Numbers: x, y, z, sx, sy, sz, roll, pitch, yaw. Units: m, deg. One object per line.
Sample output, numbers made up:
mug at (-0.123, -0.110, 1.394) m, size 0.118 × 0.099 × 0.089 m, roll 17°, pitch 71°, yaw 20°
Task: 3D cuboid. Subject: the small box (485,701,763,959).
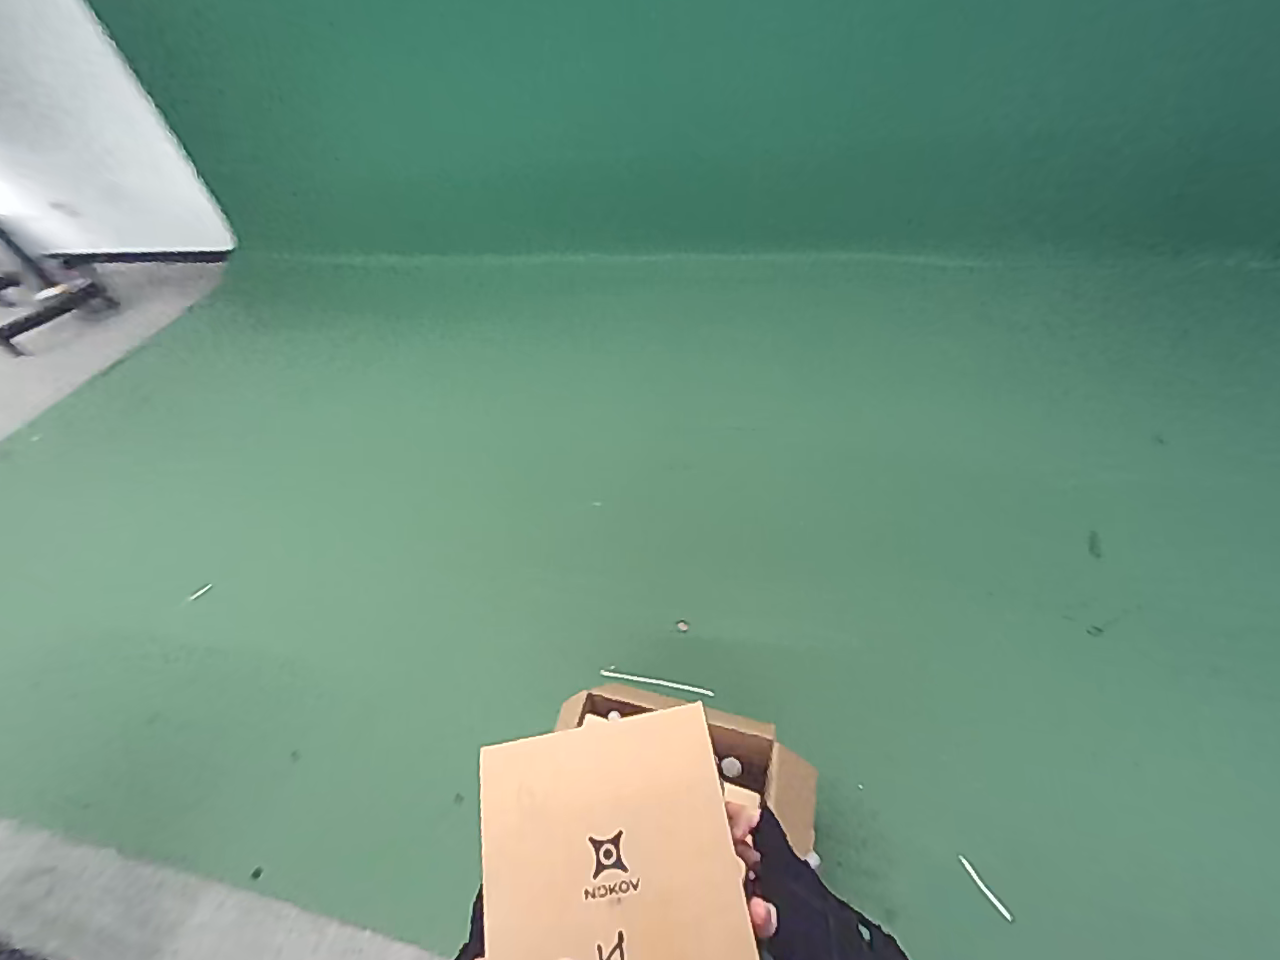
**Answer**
small box at (-0.010, 0.287, 0.416) m, size 0.168 × 0.176 × 0.179 m, roll -12°, pitch 61°, yaw 0°
